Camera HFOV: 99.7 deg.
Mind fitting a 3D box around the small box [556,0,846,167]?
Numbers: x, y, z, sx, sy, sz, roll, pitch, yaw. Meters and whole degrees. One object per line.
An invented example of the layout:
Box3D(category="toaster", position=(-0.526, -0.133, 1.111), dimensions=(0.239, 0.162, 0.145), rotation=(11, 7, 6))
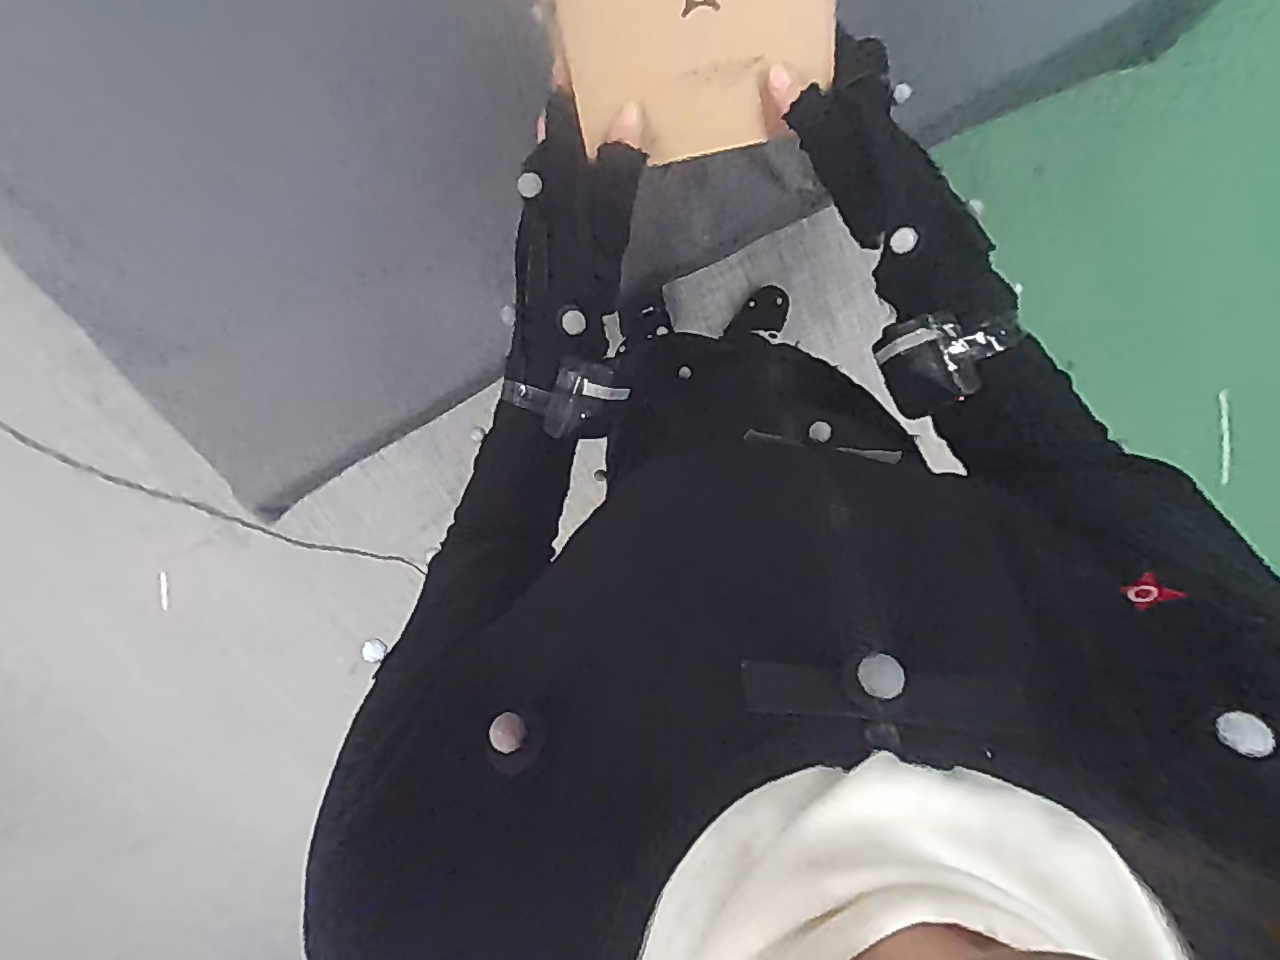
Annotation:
Box3D(category="small box", position=(0.028, -0.334, 0.372), dimensions=(0.168, 0.176, 0.179), rotation=(-12, 126, -1))
